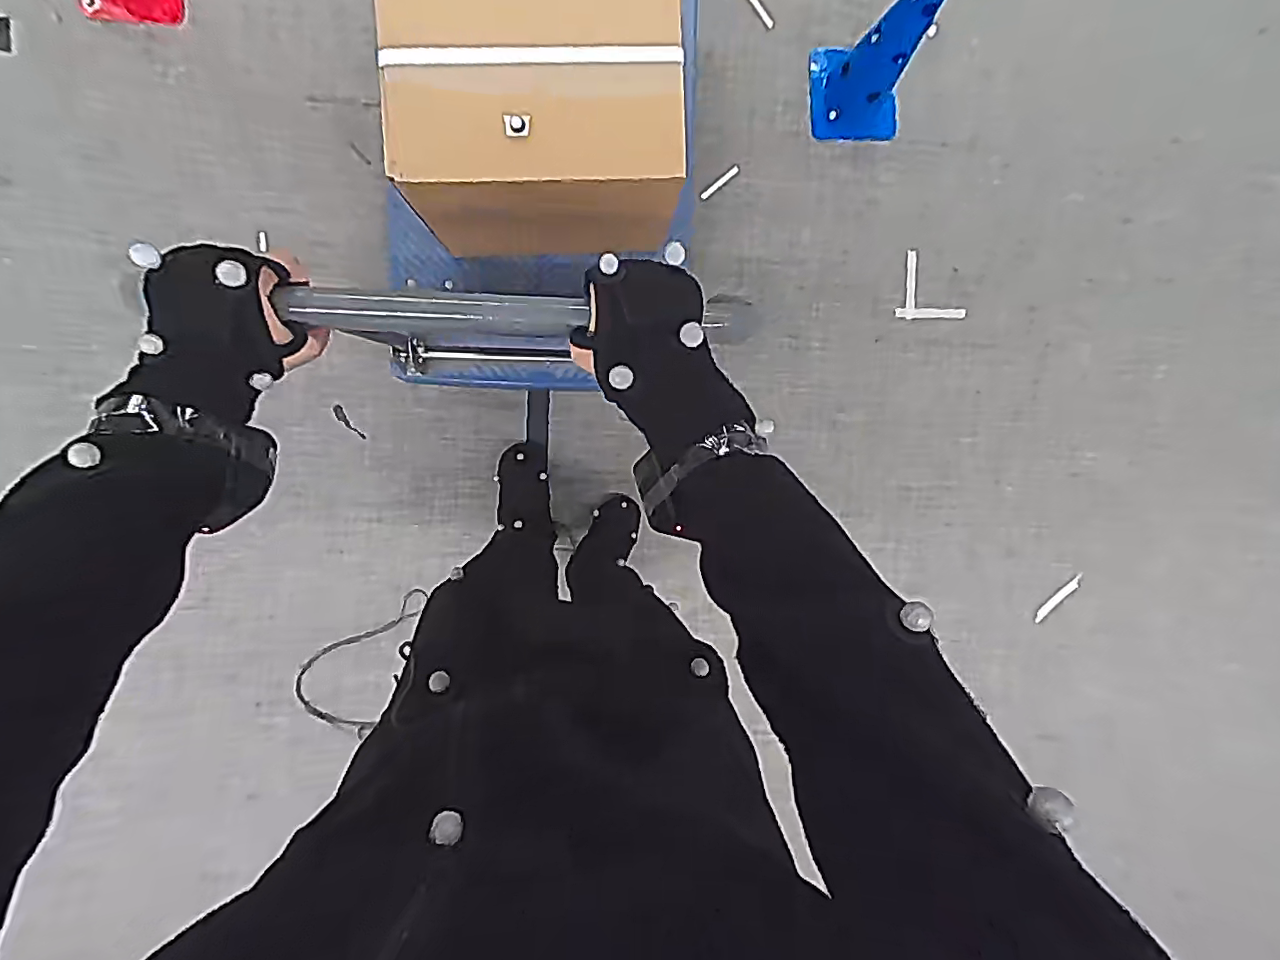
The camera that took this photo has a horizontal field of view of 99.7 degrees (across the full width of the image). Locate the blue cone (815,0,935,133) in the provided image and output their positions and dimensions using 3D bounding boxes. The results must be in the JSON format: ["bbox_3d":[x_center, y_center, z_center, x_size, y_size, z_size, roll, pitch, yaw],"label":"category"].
[{"bbox_3d":[0.503,-0.874,1.059,0.193,0.380,0.192,-2,94,-4],"label":"blue cone"}]
